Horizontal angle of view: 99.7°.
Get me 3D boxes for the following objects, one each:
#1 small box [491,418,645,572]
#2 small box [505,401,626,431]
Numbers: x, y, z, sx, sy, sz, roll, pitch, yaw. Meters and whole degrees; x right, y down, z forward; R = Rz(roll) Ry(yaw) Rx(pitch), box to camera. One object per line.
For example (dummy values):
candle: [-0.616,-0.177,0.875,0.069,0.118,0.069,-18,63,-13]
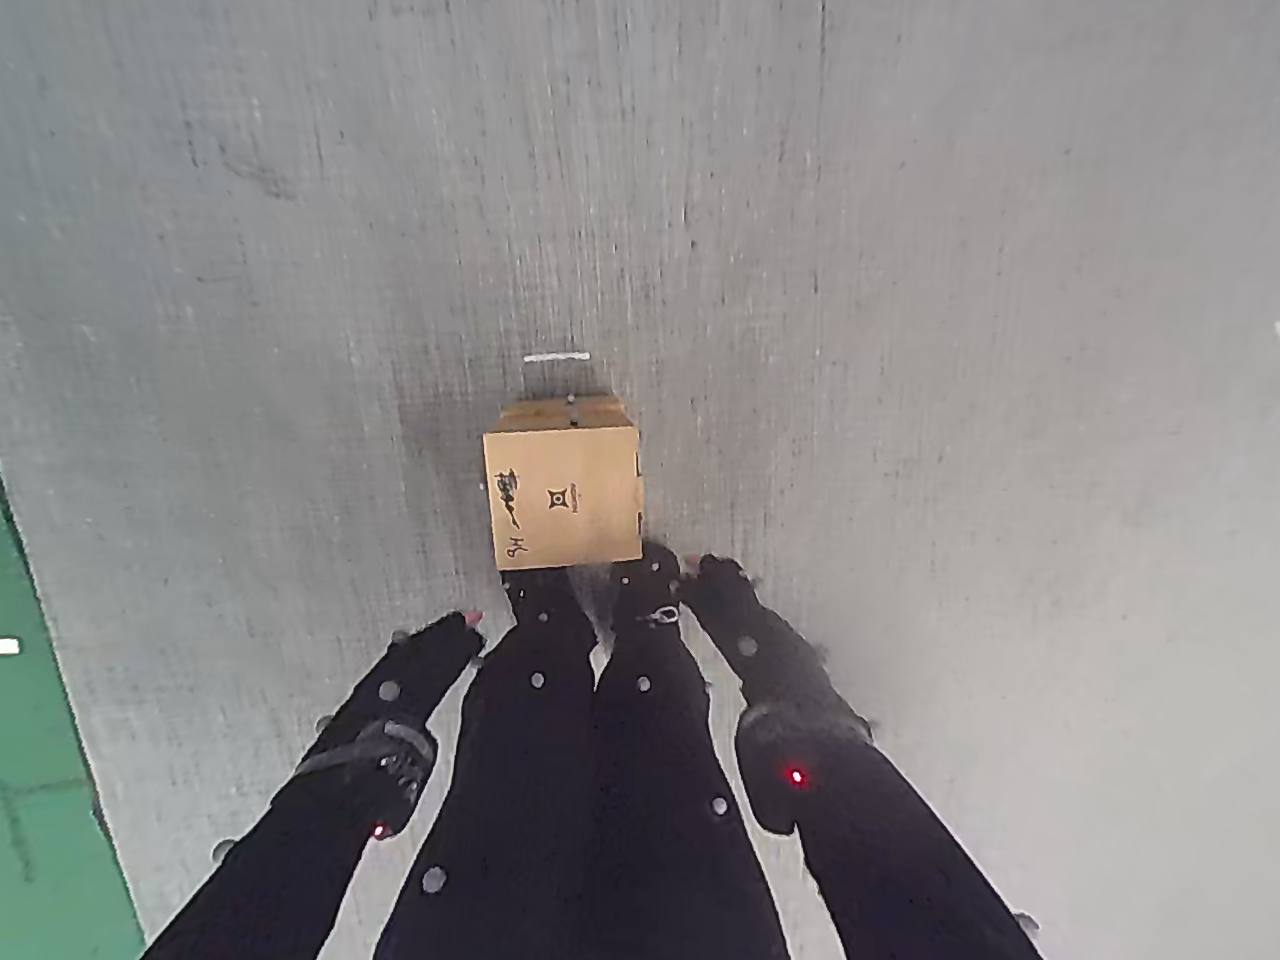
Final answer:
small box: [-0.092,0.010,0.715,0.179,0.176,0.168,-3,102,-7]
small box: [-0.112,-0.036,0.870,0.179,0.176,0.168,-4,103,-4]
